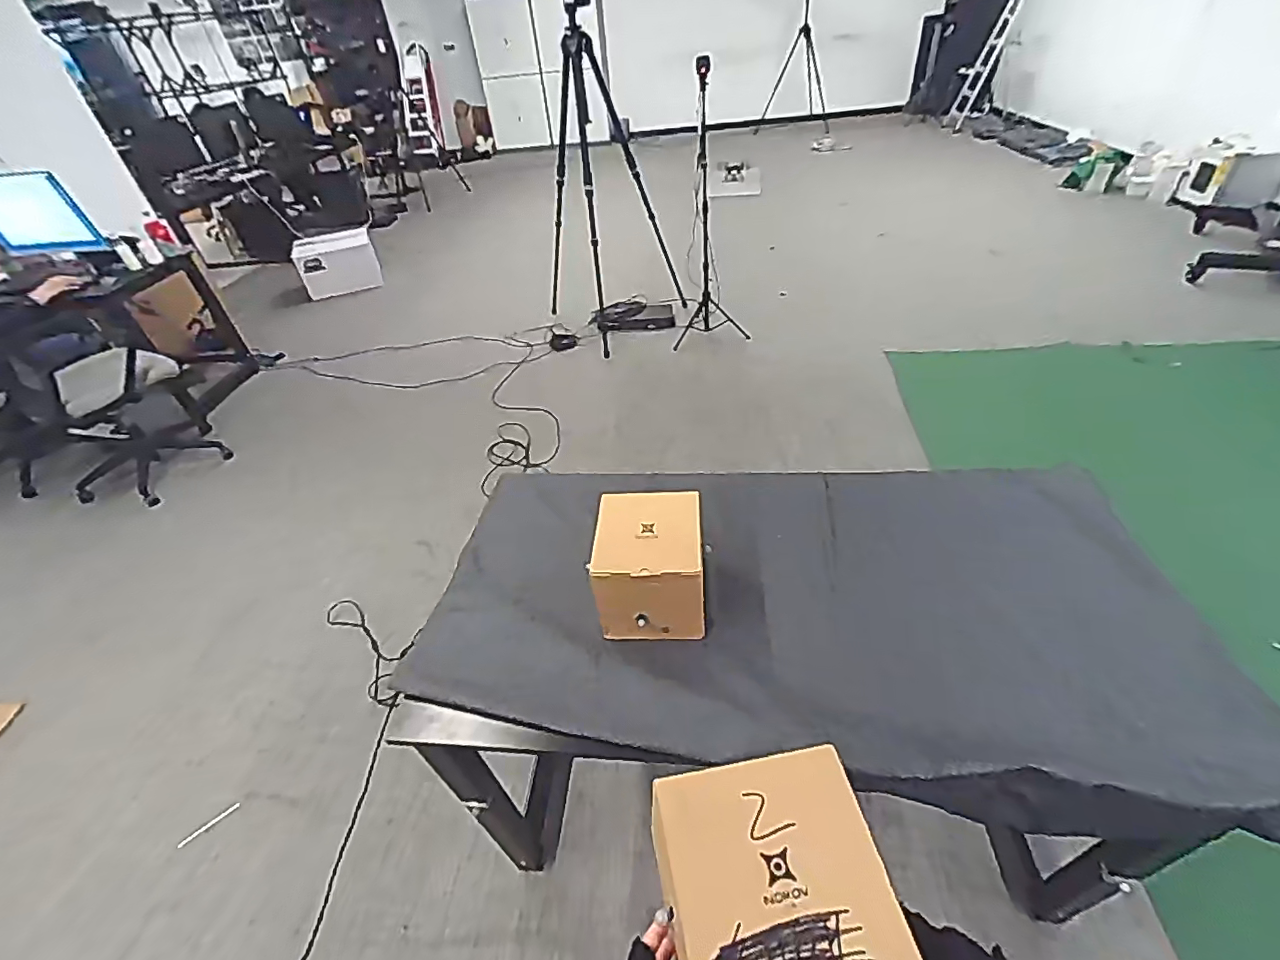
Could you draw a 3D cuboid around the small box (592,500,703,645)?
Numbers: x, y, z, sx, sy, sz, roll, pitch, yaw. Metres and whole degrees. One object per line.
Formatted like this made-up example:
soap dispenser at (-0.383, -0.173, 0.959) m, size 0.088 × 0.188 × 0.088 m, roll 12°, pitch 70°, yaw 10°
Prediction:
small box at (0.021, 0.152, 0.905) m, size 0.168 × 0.176 × 0.179 m, roll -1°, pitch 41°, yaw 6°
